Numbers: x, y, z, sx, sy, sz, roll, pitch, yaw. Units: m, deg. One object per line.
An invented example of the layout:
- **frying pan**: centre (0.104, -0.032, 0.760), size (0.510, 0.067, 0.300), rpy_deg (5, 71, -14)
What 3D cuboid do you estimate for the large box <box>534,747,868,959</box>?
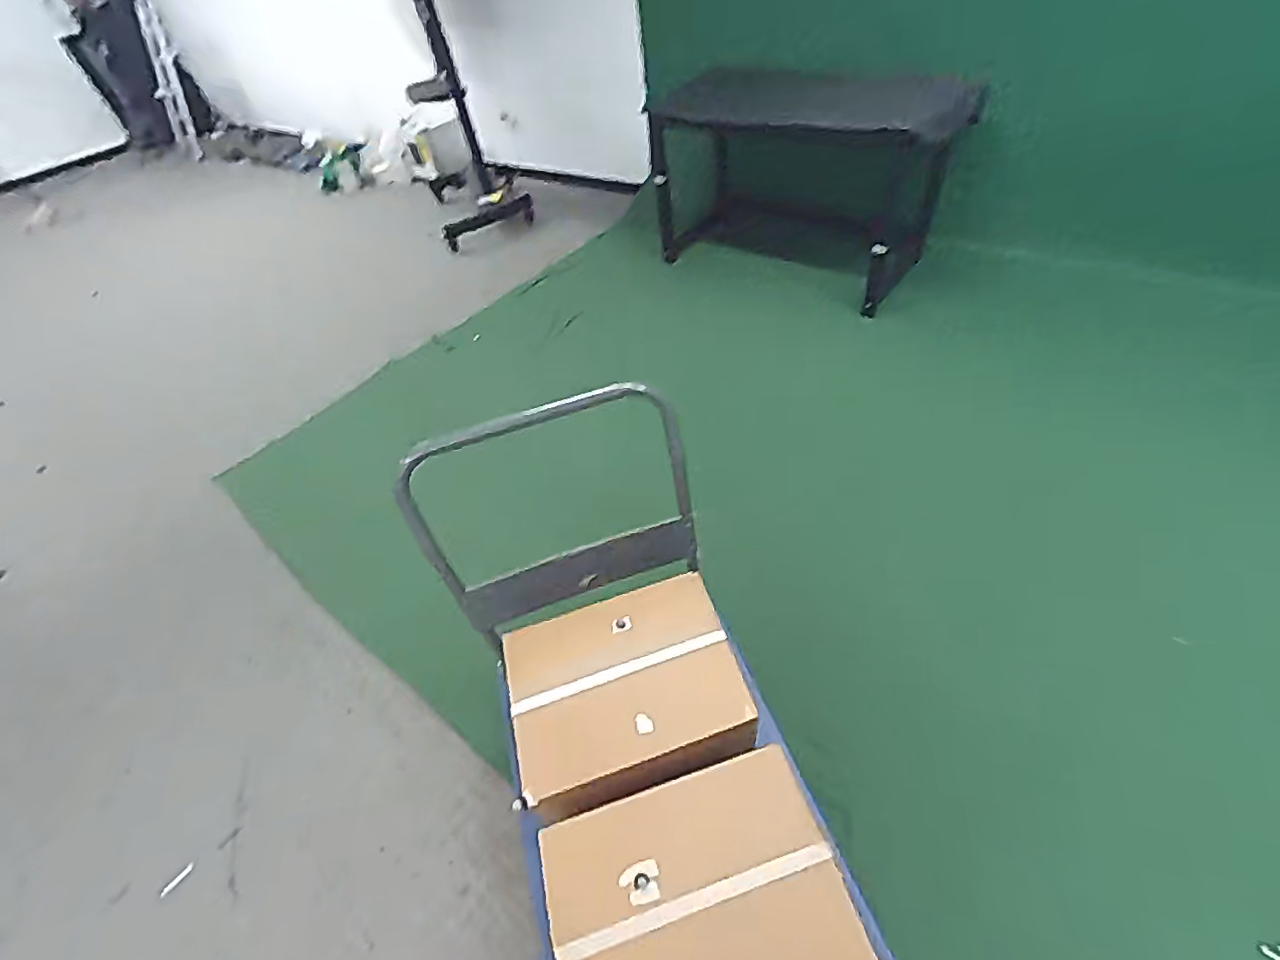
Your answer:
- **large box**: centre (0.088, 0.687, 0.855), size (0.408, 0.320, 0.320), rpy_deg (-18, 47, -5)
